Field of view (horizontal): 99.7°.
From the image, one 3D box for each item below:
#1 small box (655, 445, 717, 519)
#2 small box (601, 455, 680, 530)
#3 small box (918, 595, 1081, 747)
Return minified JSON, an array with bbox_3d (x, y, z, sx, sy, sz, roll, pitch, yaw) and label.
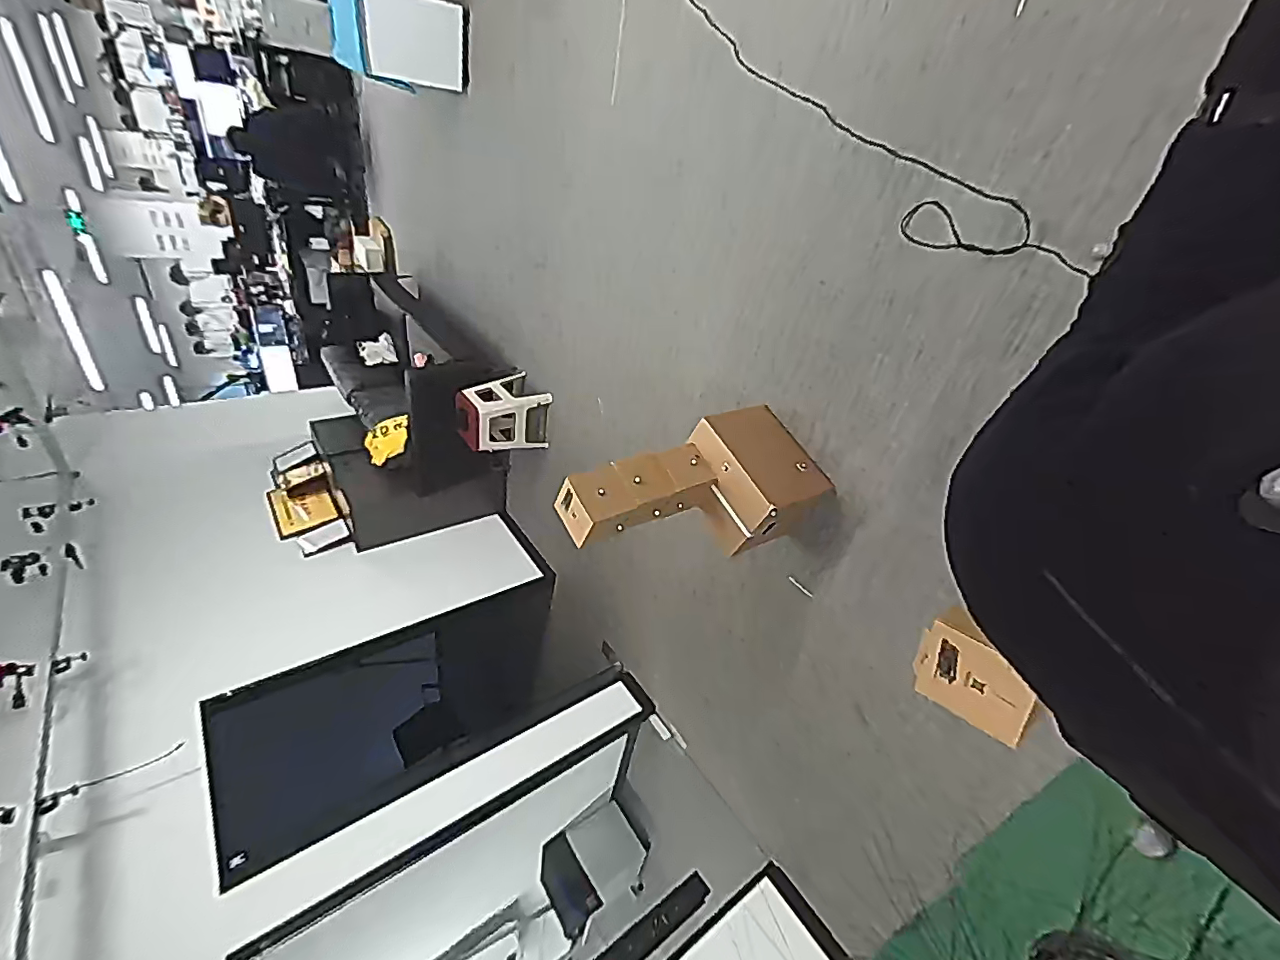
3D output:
[{"bbox_3d":[0.135,0.004,1.862,0.168,0.176,0.179,57,144,23],"label":"small box"},{"bbox_3d":[0.001,0.035,1.777,0.179,0.176,0.168,58,144,22],"label":"small box"},{"bbox_3d":[0.644,0.328,0.975,0.179,0.176,0.168,28,124,45],"label":"small box"}]
